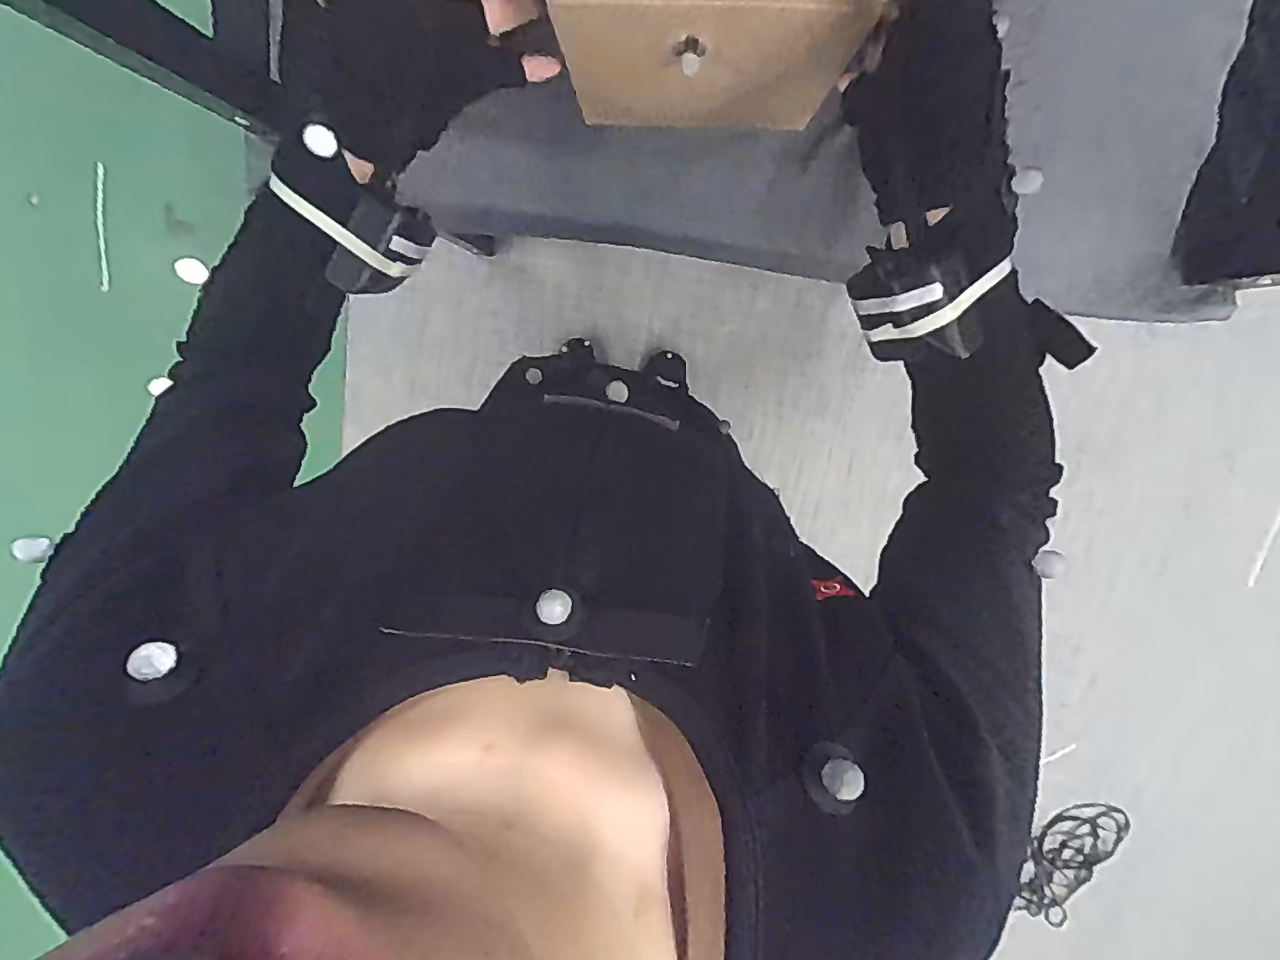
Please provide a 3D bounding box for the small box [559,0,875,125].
[{"bbox_3d":[0.044,-0.347,0.340,0.179,0.176,0.168,2,105,0],"label":"small box"}]
